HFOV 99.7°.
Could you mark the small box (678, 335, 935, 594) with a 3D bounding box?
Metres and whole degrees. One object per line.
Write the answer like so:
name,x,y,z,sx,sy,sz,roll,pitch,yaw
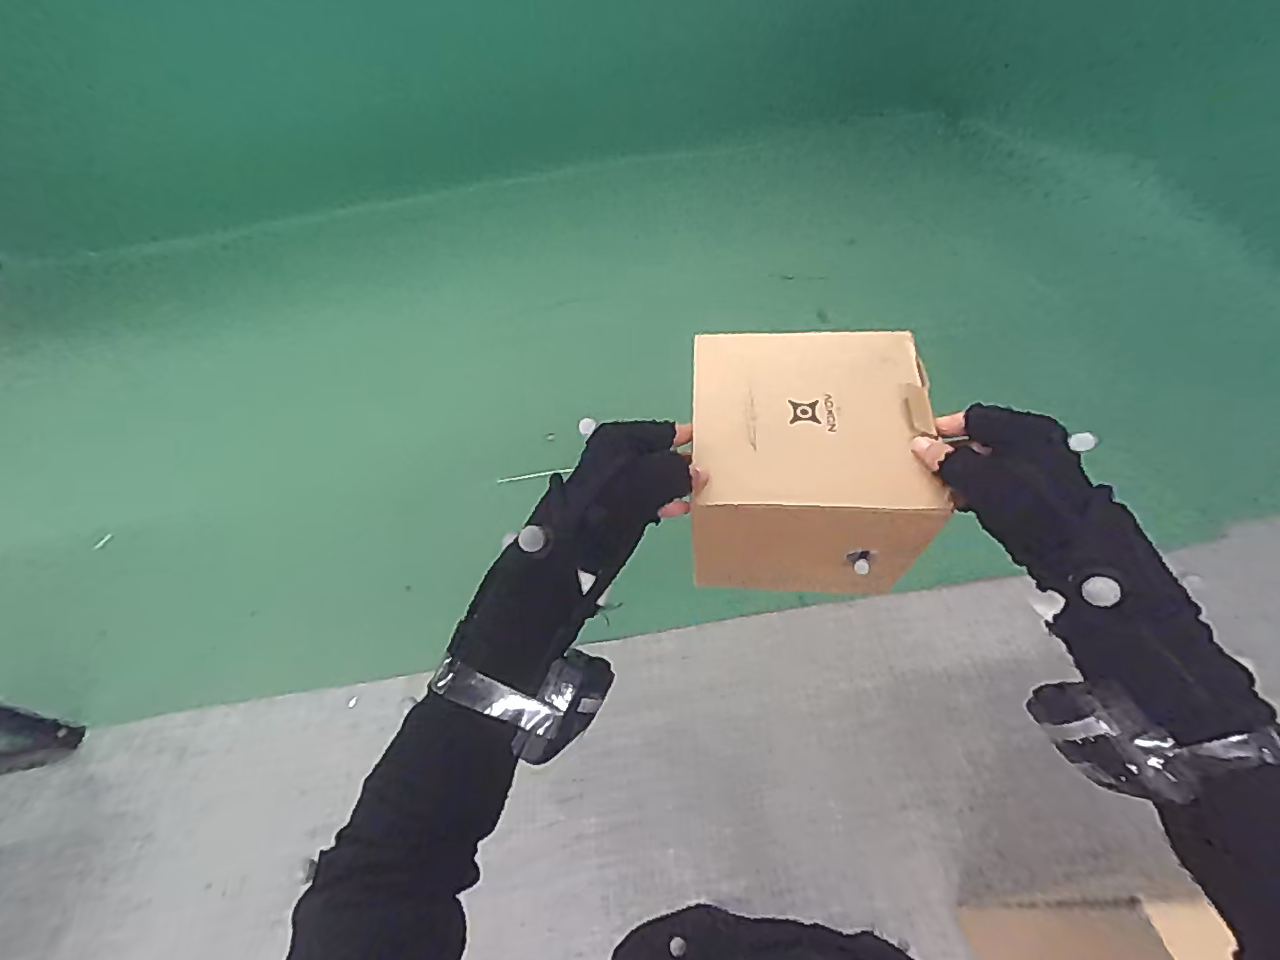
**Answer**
small box,0.126,-0.005,0.480,0.179,0.176,0.168,-2,57,8
